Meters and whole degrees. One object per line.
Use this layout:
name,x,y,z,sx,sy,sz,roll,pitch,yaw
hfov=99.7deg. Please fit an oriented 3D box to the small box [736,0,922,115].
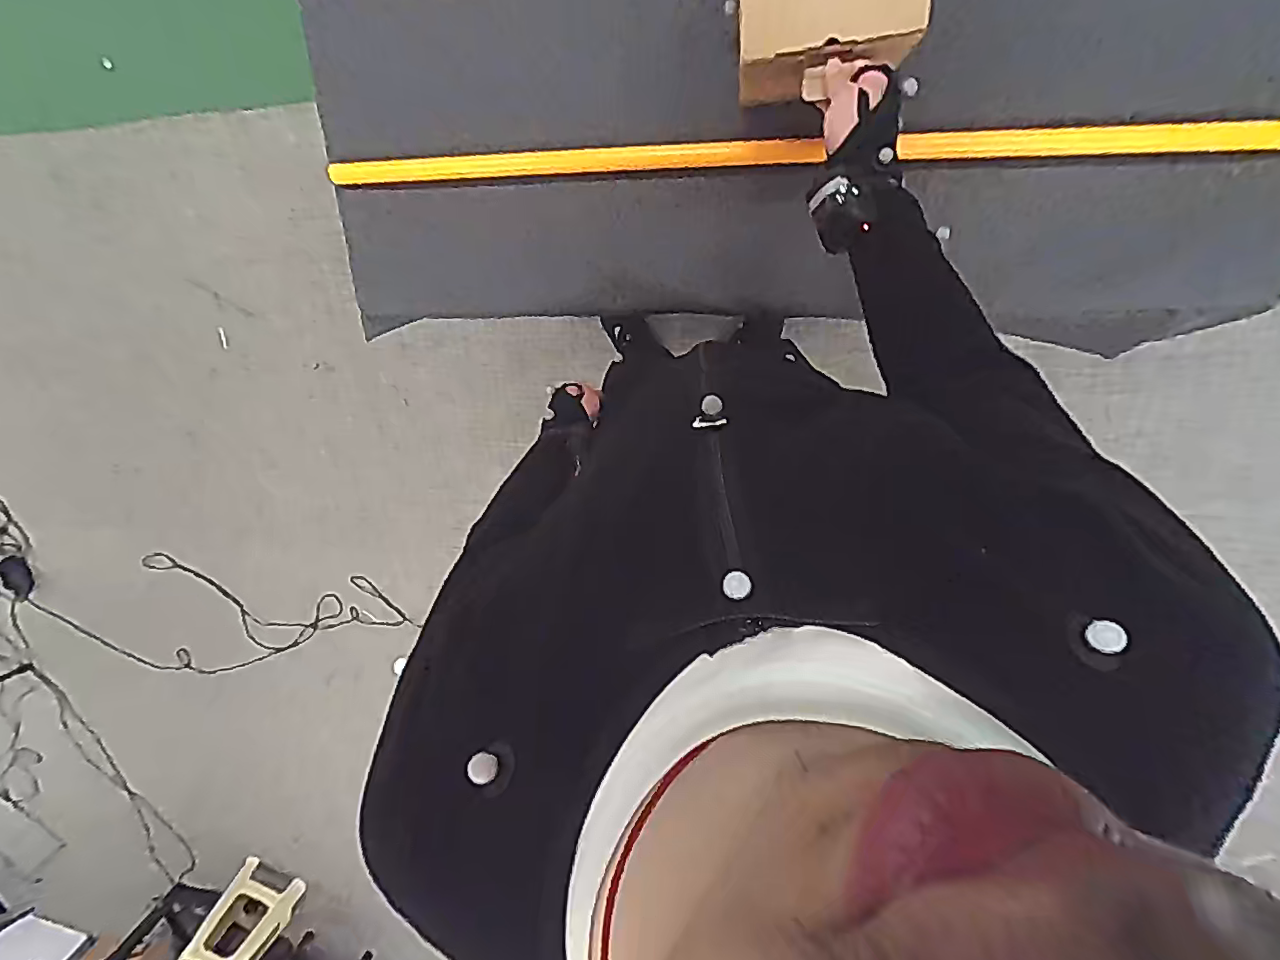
small box,0.187,-0.503,0.559,0.168,0.176,0.179,-3,111,14
